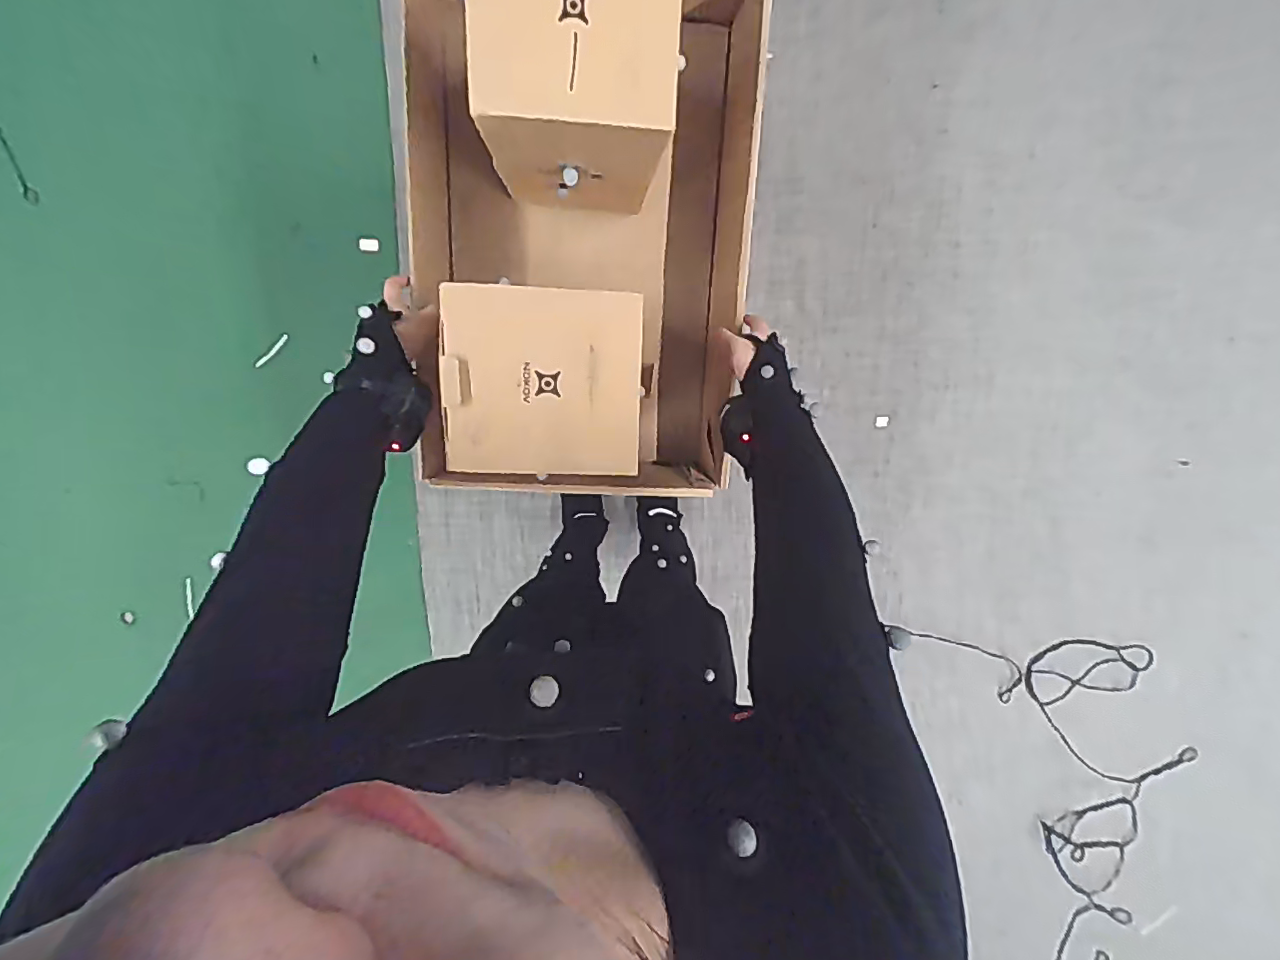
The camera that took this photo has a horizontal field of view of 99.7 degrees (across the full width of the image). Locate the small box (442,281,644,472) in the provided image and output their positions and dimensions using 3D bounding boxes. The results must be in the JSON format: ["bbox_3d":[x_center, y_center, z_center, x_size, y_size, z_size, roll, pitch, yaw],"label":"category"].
[{"bbox_3d":[-0.093,-0.107,0.563,0.179,0.176,0.168,0,104,-7],"label":"small box"}]

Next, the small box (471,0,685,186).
[{"bbox_3d":[-0.055,-0.390,0.490,0.168,0.176,0.179,1,106,-6],"label":"small box"}]
